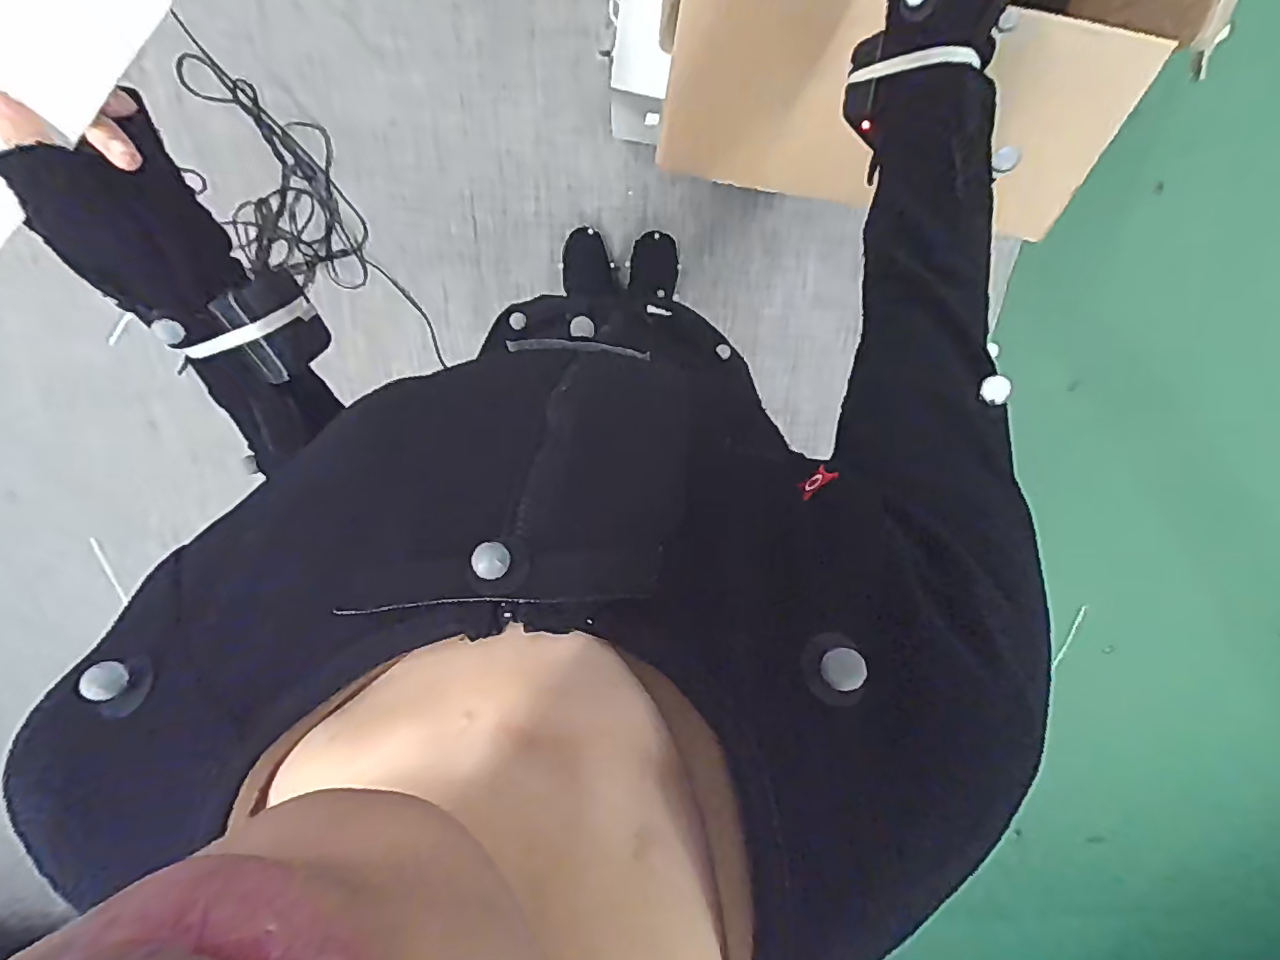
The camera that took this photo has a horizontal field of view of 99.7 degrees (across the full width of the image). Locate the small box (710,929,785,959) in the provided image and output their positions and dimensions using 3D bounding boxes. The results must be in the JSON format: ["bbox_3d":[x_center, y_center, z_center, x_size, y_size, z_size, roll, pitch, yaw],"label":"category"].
[{"bbox_3d":[0.266,1.224,1.303,0.168,0.176,0.179,0,117,-4],"label":"small box"}]
